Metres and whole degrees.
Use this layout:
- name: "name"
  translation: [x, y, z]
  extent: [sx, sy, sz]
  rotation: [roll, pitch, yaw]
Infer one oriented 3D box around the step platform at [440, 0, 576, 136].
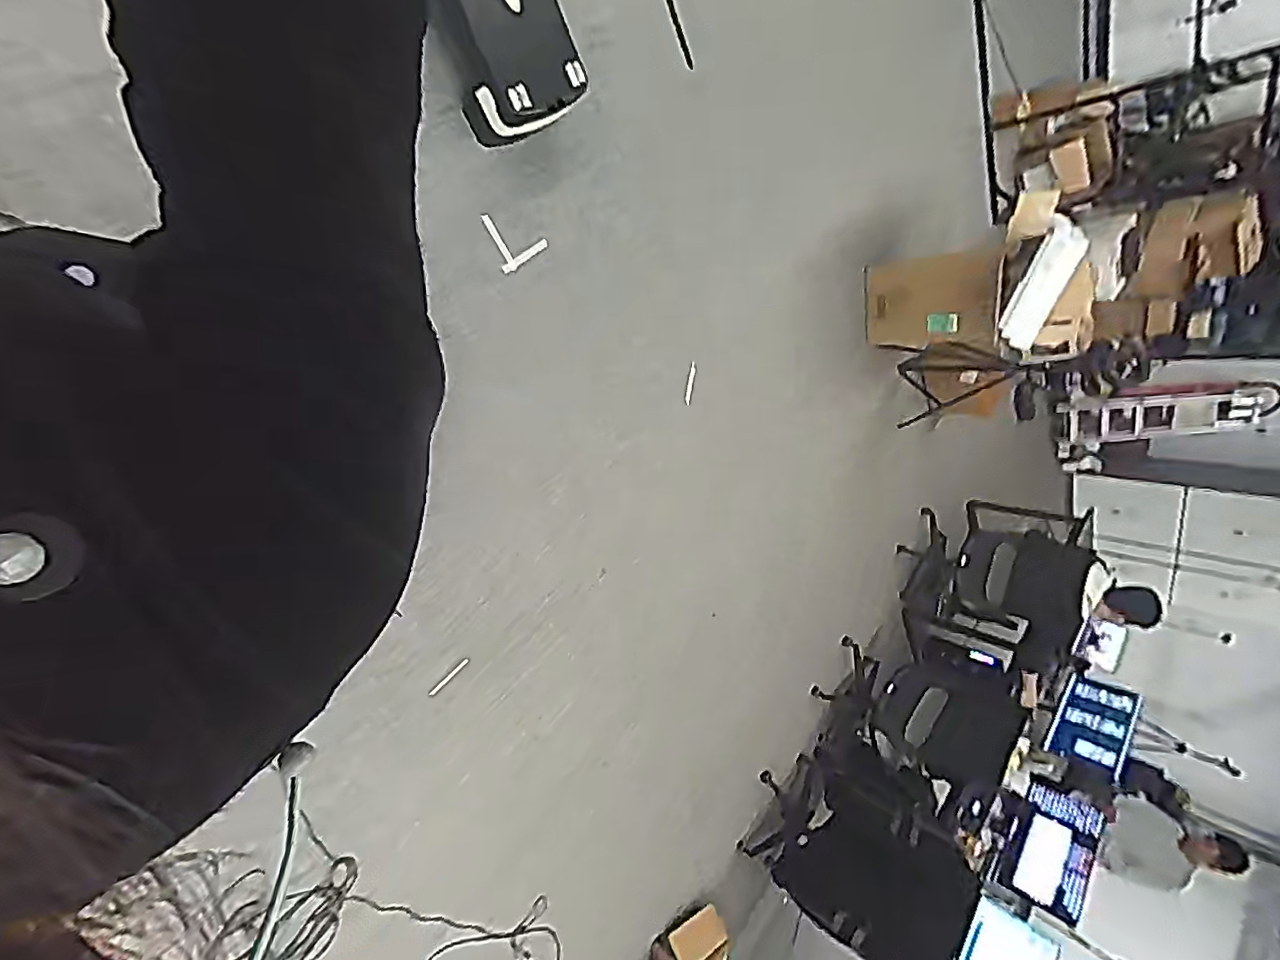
- name: "step platform"
  translation: [-0.415, -1.231, 1.268]
  extent: [0.286, 0.204, 0.684]
  rotation: [-38, 120, -28]
